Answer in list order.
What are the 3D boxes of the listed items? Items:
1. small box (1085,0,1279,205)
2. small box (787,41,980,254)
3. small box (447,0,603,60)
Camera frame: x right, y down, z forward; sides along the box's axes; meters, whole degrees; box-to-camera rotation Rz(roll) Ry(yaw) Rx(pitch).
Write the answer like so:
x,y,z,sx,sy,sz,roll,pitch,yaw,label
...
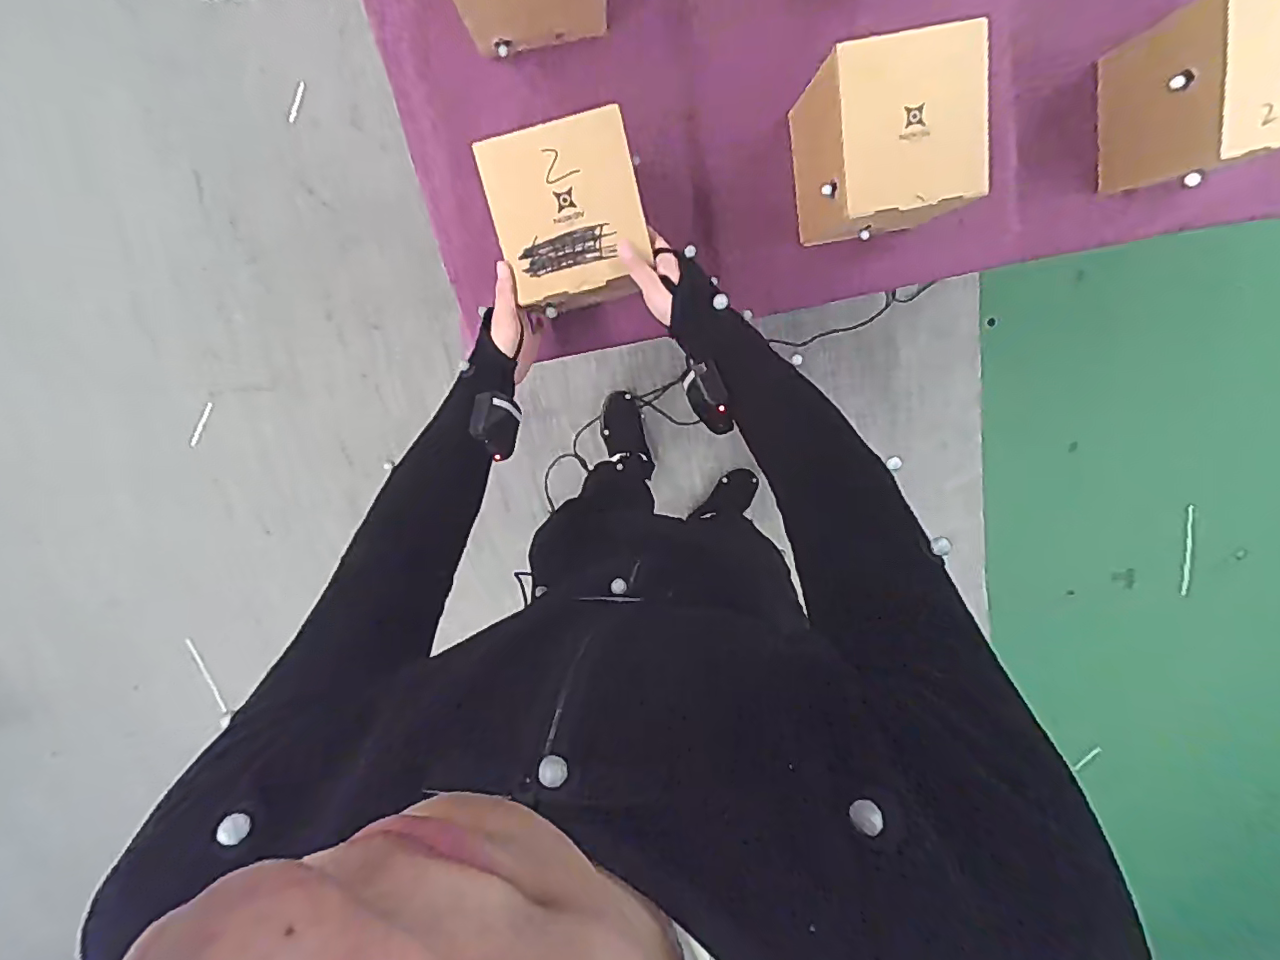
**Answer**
x,y,z,sx,sy,sz,roll,pitch,yaw,label
0.710,-0.474,0.684,0.168,0.176,0.179,-12,106,2,small box
0.296,-0.402,0.684,0.168,0.176,0.179,-11,105,-1,small box
-0.136,-0.603,0.598,0.168,0.176,0.179,-11,107,-1,small box
